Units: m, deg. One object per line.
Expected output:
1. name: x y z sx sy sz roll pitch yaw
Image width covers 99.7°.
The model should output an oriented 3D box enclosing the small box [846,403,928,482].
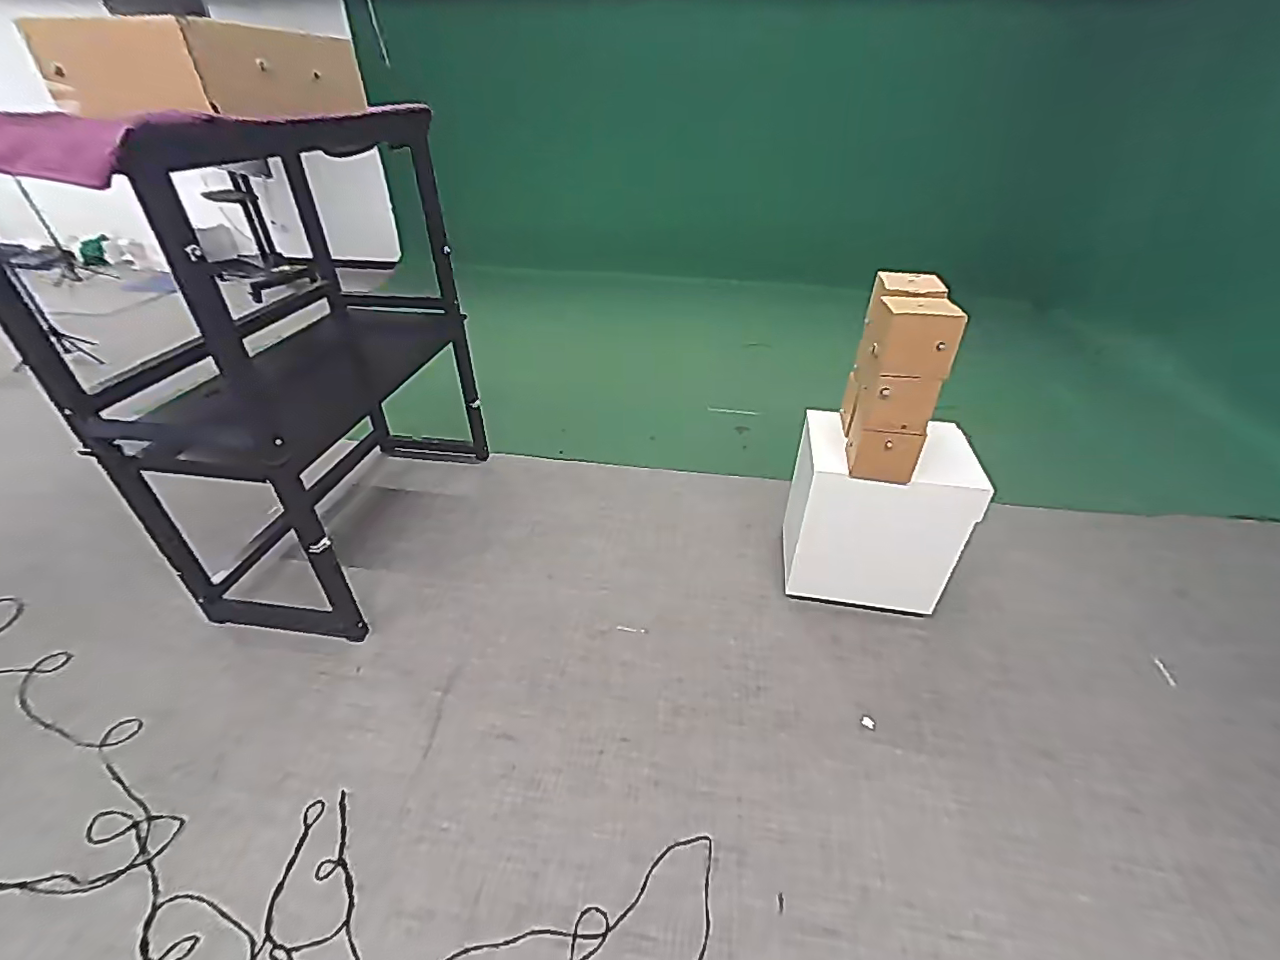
1. small box: 0.735 -0.111 1.628 0.179 0.176 0.168 7 36 10

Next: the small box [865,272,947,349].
1. small box: 0.782 -0.503 1.607 0.168 0.176 0.179 8 39 9

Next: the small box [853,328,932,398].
1. small box: 0.790 -0.374 1.709 0.179 0.176 0.168 8 38 9
